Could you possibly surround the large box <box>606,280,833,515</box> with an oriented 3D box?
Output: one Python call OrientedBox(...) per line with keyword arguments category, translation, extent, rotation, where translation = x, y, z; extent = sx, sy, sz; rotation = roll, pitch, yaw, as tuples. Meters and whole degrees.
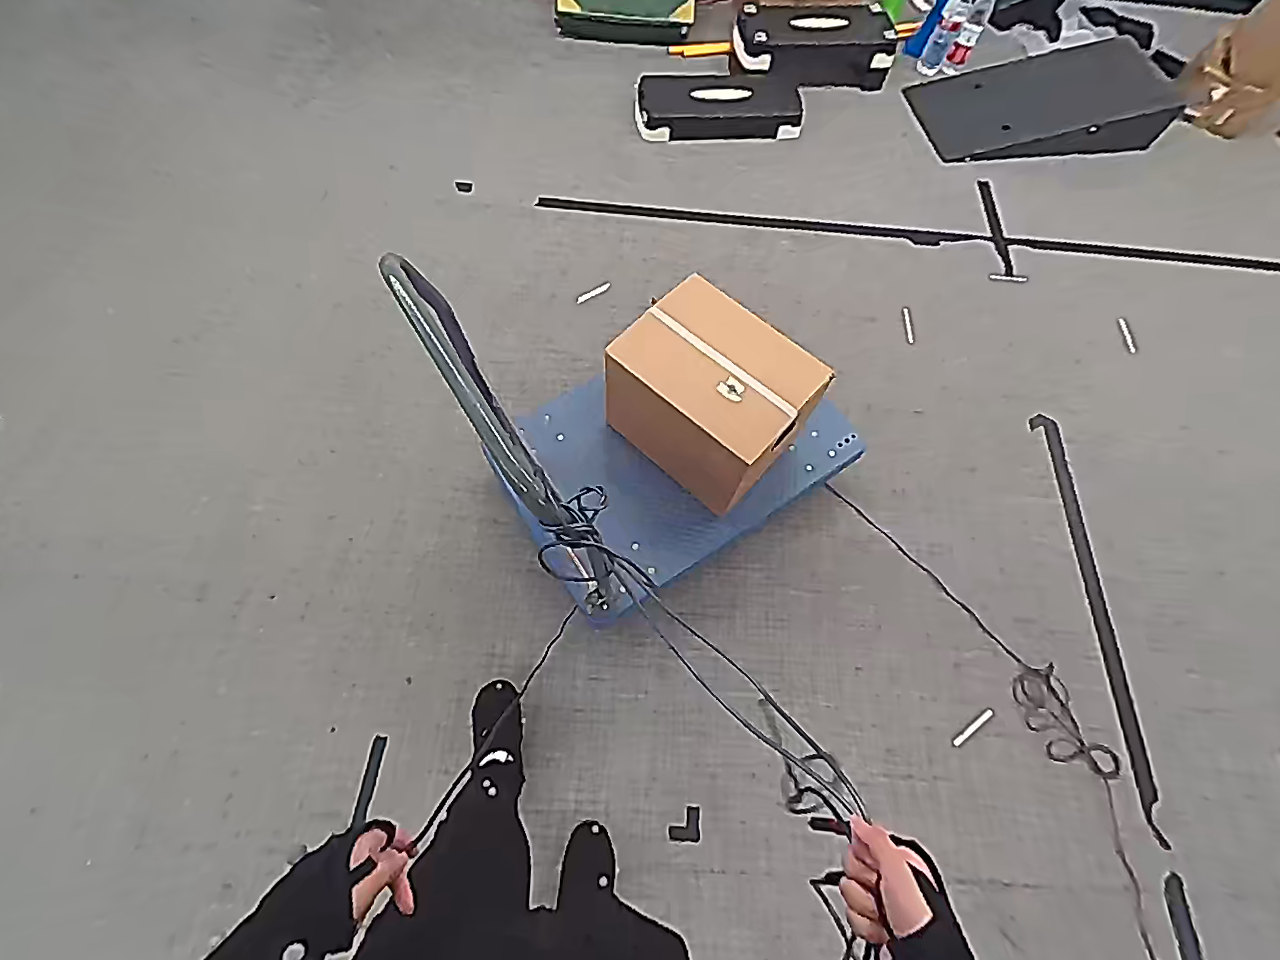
OrientedBox(category="large box", translation=(0.162, -0.189, 1.302), extent=(0.408, 0.320, 0.320), rotation=(40, 71, 13))
